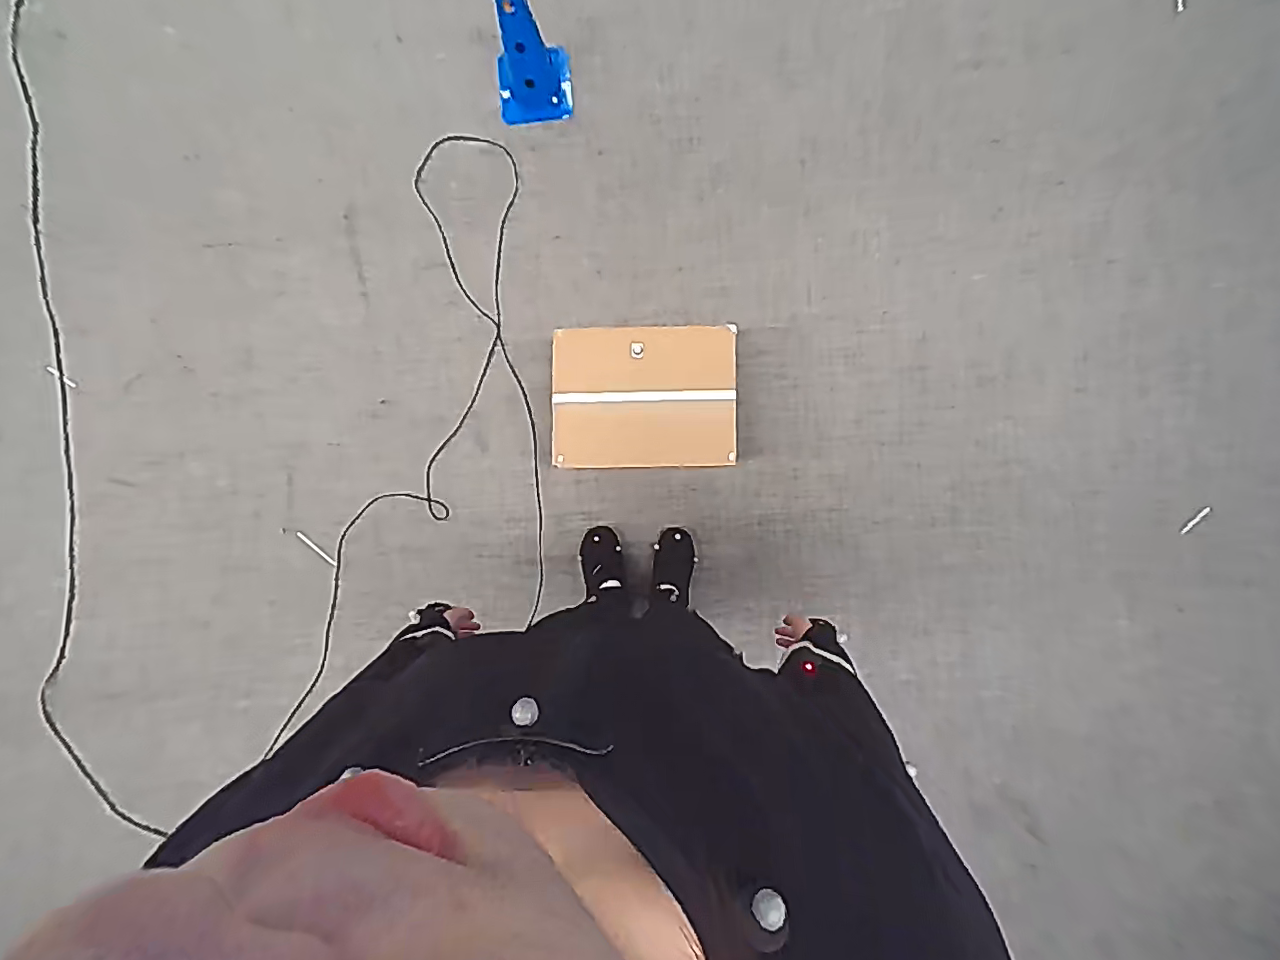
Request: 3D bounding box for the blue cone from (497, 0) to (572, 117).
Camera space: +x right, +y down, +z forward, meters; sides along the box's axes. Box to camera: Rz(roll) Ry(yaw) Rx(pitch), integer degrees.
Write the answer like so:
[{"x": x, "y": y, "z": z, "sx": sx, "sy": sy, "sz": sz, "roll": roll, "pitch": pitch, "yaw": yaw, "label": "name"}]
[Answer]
[{"x": -0.286, "y": -1.085, "z": 1.298, "sx": 0.193, "sy": 0.380, "sz": 0.192, "roll": -7, "pitch": 91, "yaw": 0, "label": "blue cone"}]
